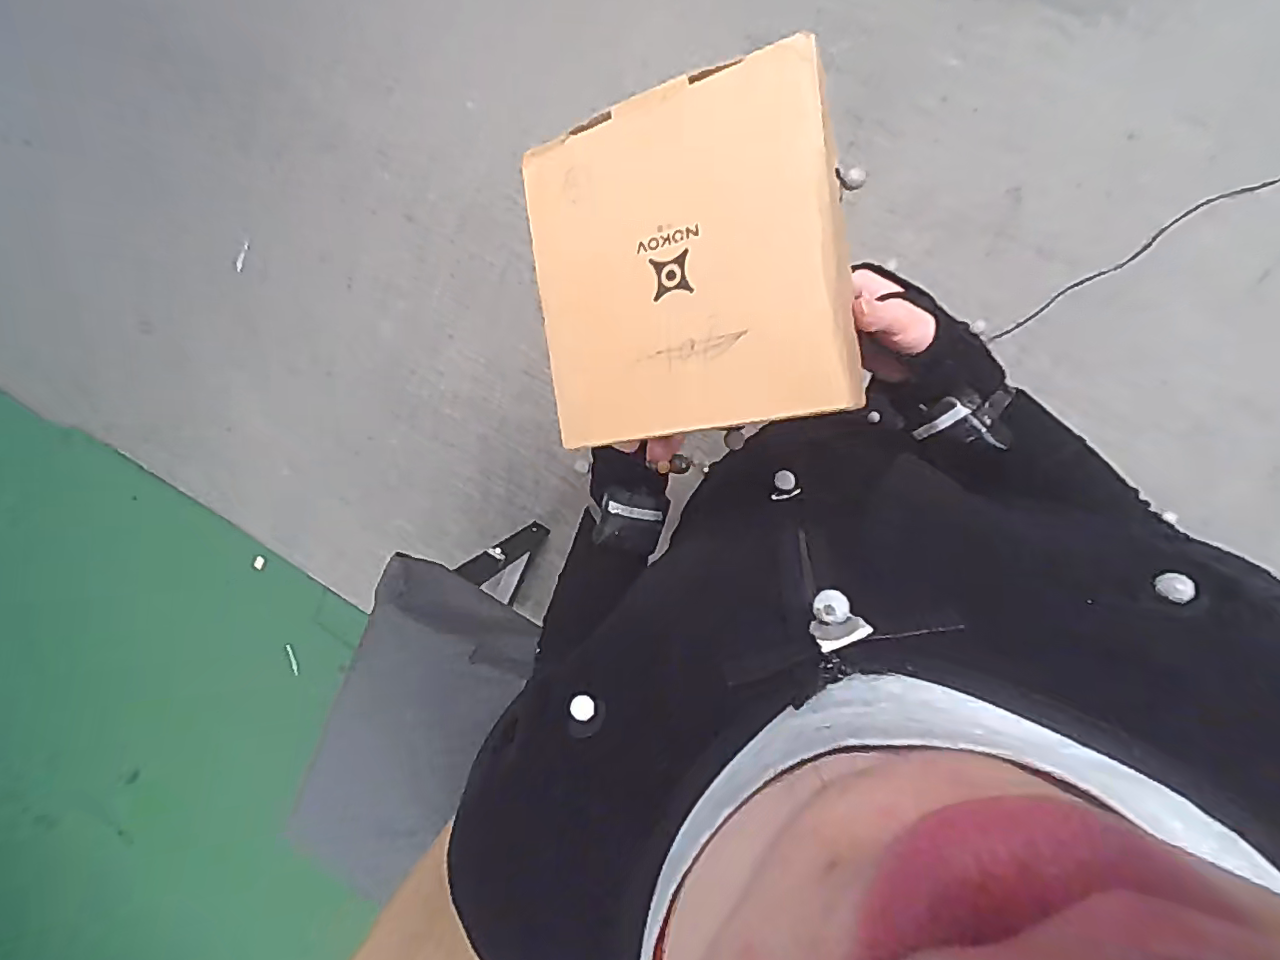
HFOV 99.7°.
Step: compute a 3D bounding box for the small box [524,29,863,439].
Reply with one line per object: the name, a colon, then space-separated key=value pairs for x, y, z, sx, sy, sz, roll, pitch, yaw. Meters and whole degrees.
small box: x=0.050 y=-0.126 z=0.359 sx=0.168 sy=0.176 sz=0.179 roll=-6 pitch=95 yaw=26
